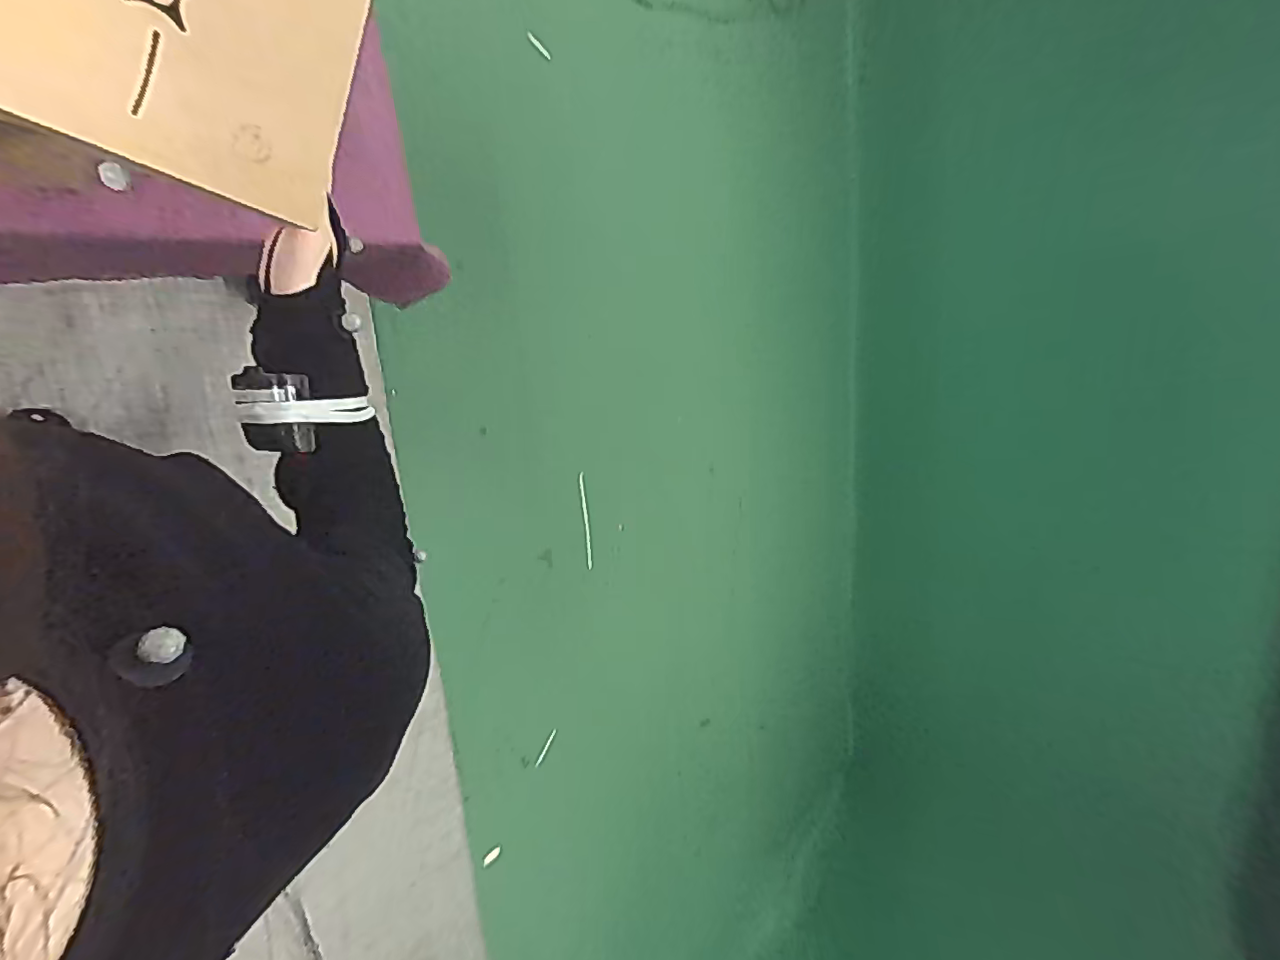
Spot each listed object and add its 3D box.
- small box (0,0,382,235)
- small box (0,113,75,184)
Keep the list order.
[{"bbox_3d":[-0.269,-0.267,0.307,0.168,0.176,0.179,11,105,-45],"label":"small box"},{"bbox_3d":[-0.575,-0.344,0.410,0.179,0.176,0.168,-19,109,-44],"label":"small box"}]
